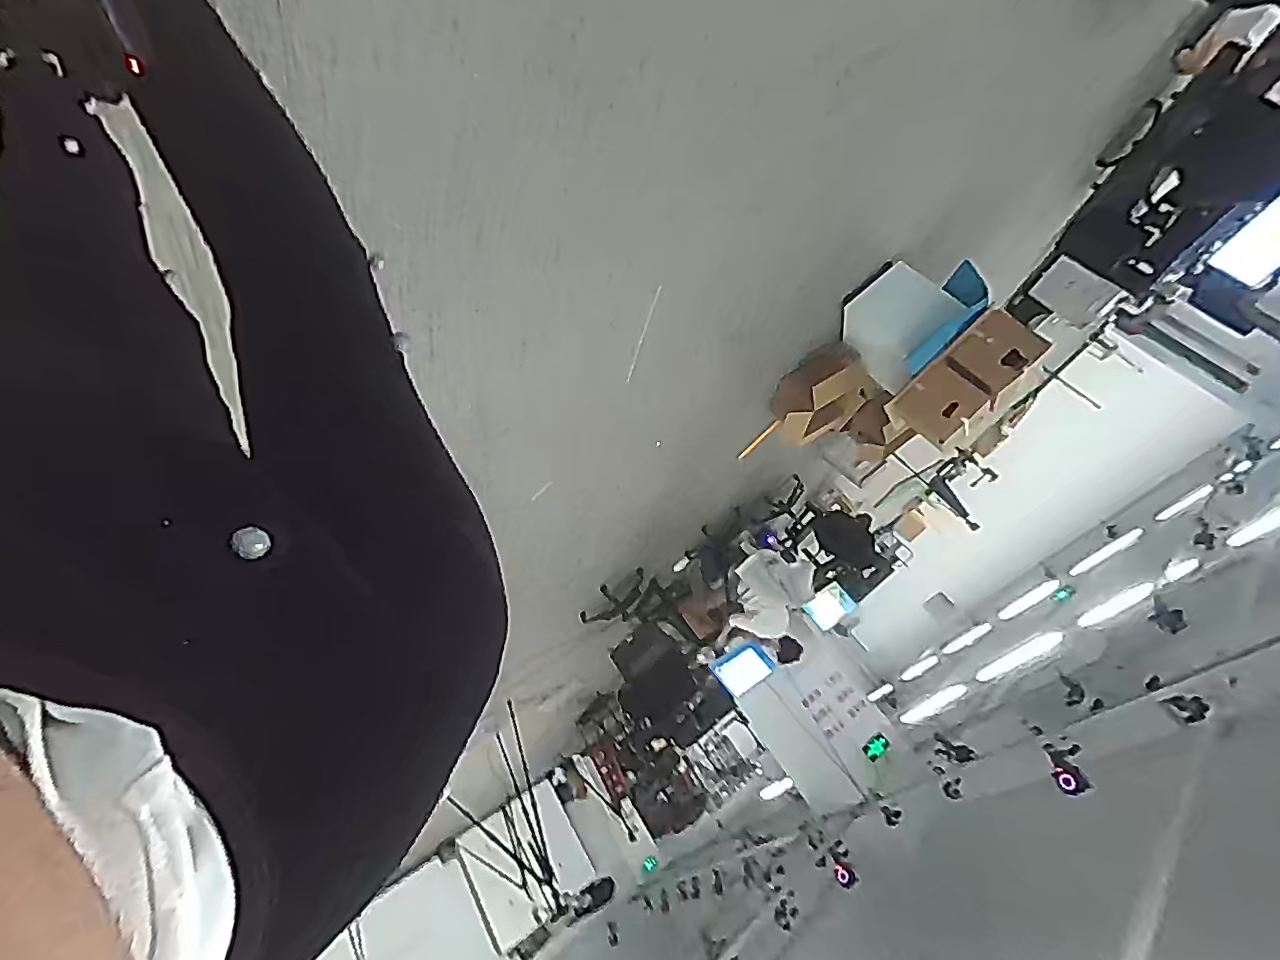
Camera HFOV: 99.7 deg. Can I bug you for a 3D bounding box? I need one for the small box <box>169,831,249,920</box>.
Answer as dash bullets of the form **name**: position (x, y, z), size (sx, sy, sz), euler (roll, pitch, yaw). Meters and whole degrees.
- **small box**: position (-1.419, 1.300, 1.785), size (0.168, 0.176, 0.179), euler (-18, 149, -39)
